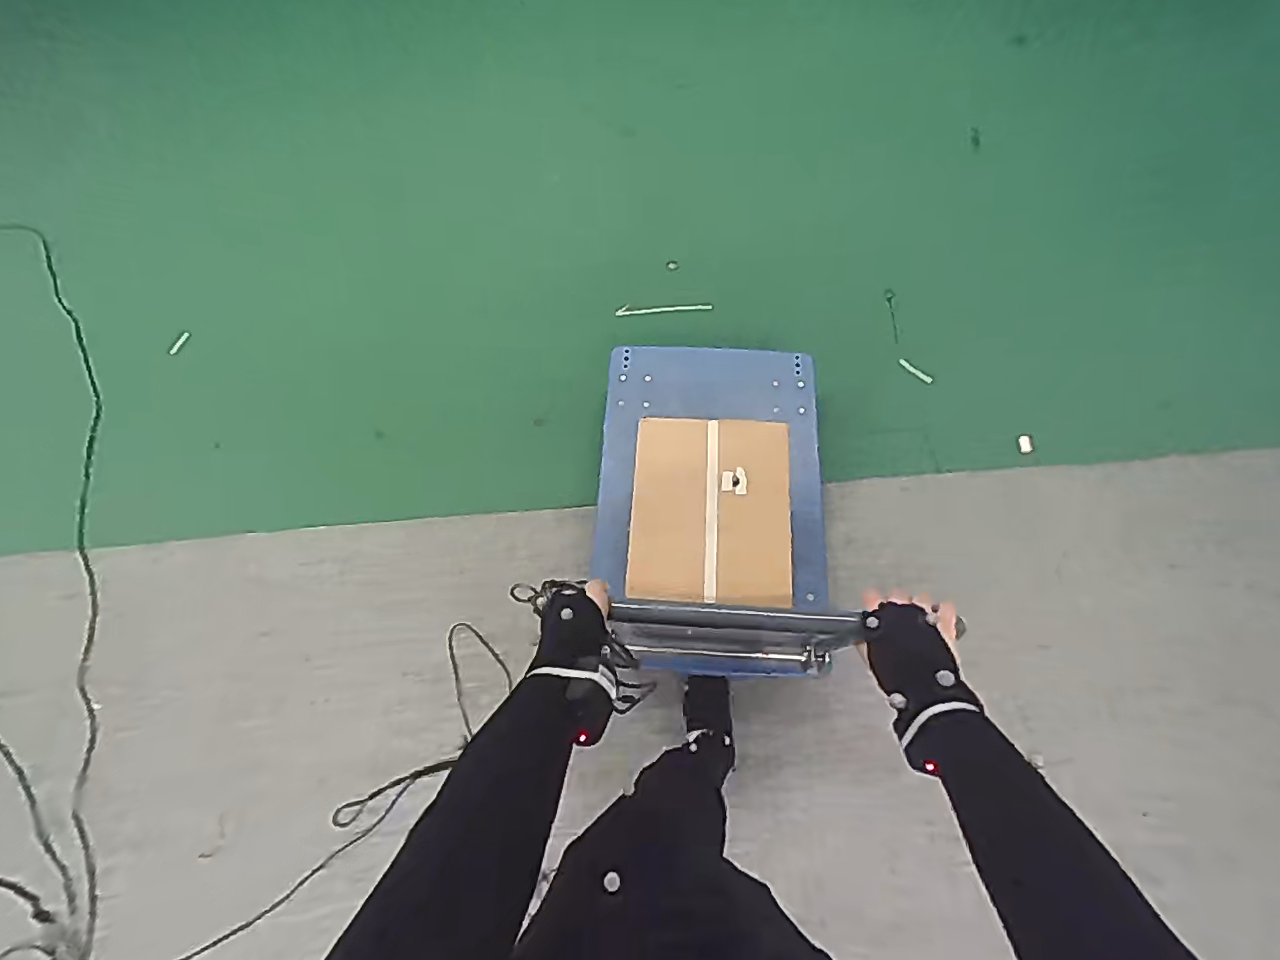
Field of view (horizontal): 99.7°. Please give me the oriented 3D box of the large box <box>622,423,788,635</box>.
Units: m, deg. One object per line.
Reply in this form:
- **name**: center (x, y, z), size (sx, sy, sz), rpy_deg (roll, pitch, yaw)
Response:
- **large box**: center (0.134, 0.123, 1.208), size (0.320, 0.320, 0.408), rpy_deg (3, 69, 2)
